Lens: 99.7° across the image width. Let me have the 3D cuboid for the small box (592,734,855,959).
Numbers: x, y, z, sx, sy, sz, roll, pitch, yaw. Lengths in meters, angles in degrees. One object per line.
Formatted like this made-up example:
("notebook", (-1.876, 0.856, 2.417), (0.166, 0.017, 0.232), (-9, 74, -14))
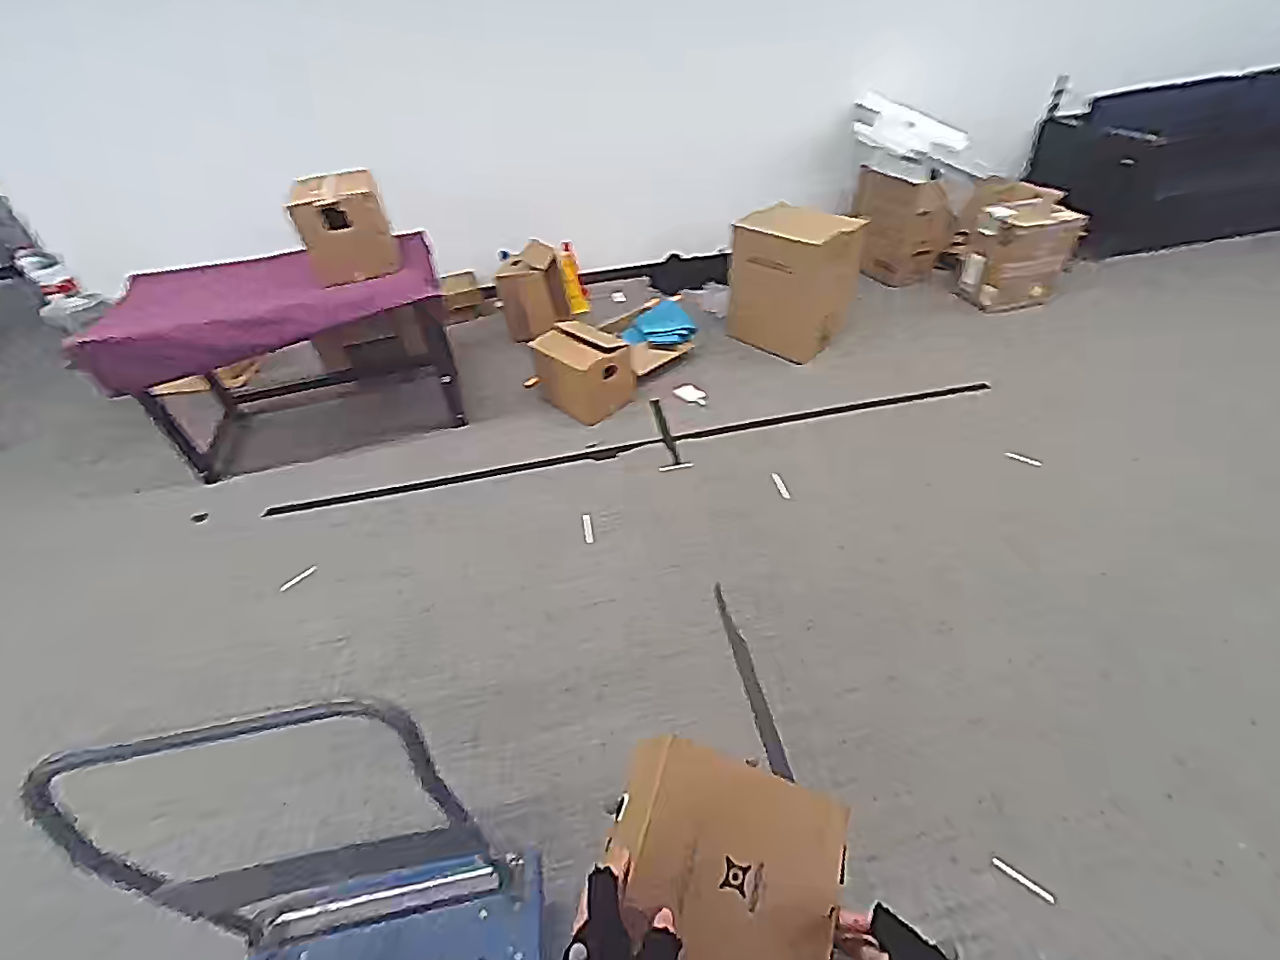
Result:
("small box", (0.069, 0.357, 0.507), (0.179, 0.176, 0.168), (22, 59, 1))
